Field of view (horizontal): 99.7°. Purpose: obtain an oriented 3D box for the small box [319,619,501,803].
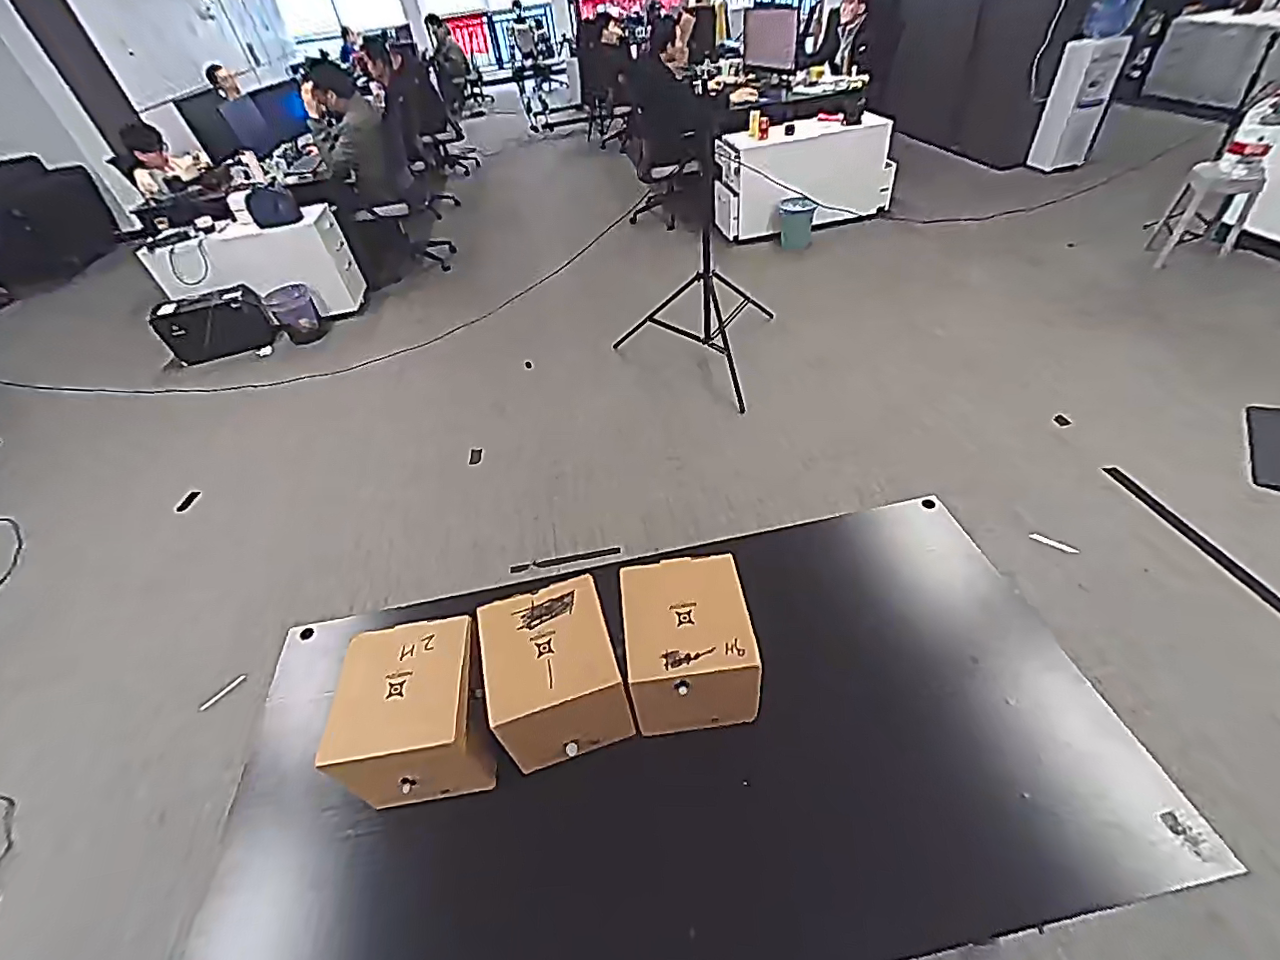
[{"bbox_3d":[-0.296,0.322,0.744,0.168,0.176,0.179,-9,43,-2],"label":"small box"}]
